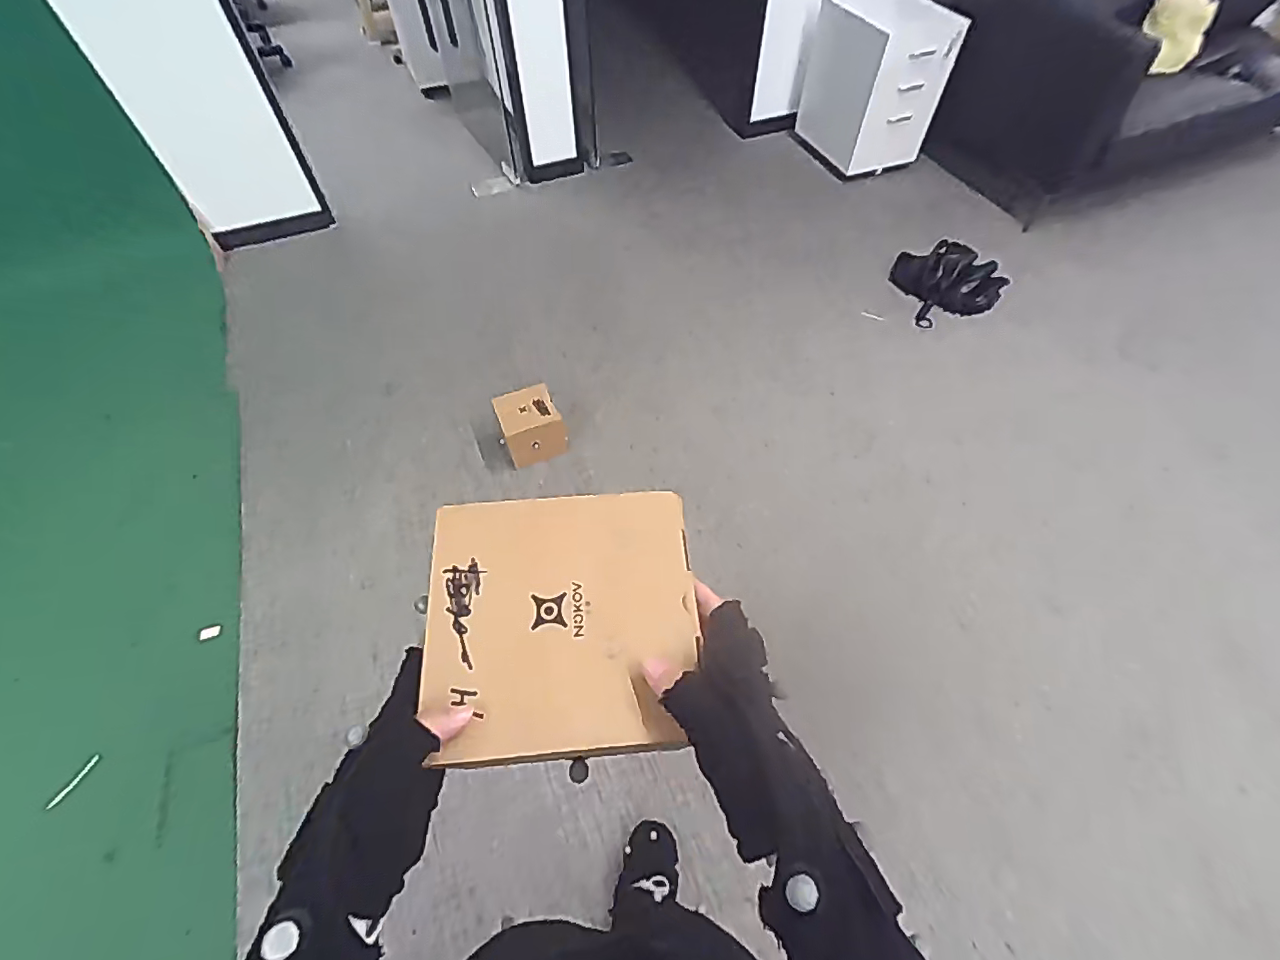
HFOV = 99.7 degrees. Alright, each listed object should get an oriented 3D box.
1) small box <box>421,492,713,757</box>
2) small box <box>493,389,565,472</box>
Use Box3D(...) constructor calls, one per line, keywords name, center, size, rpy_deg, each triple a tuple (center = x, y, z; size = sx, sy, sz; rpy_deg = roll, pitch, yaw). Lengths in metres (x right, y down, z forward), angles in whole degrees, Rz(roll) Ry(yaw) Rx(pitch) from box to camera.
Box3D(name="small box", center=(-0.053, 0.121, 0.428), size=(0.179, 0.176, 0.168), rpy_deg=(-2, 61, -5))
Box3D(name="small box", center=(-0.343, -0.154, 1.709), size=(0.179, 0.176, 0.168), rpy_deg=(-21, 58, -12))
